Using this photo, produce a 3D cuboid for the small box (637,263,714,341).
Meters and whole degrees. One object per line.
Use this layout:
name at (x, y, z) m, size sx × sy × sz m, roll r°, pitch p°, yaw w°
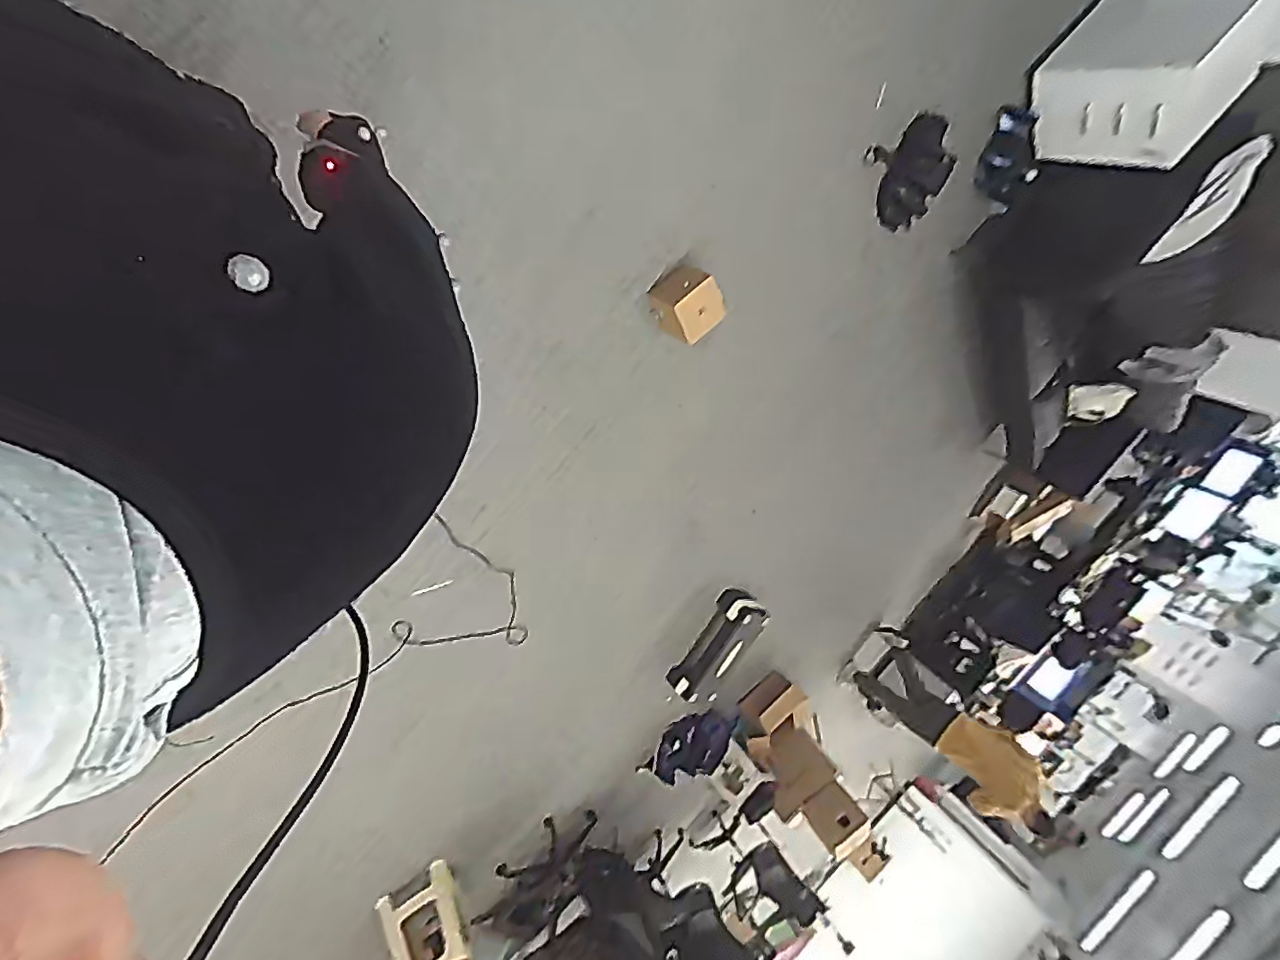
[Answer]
small box at (0.120, -0.618, 1.858) m, size 0.179 × 0.176 × 0.168 m, roll -42°, pitch 136°, yaw -7°
